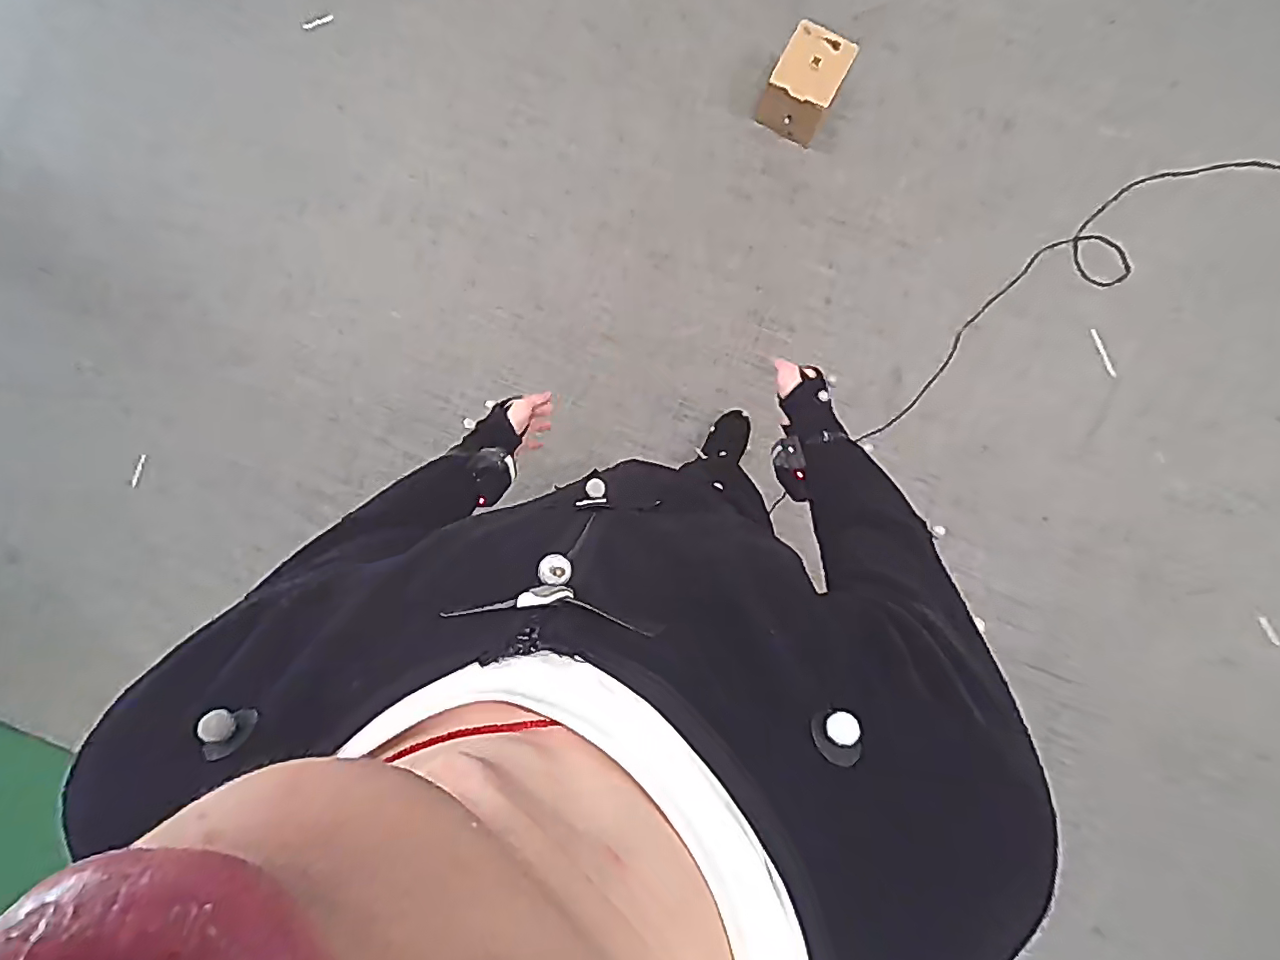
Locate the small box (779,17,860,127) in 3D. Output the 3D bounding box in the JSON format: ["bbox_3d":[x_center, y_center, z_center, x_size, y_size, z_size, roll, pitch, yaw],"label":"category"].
[{"bbox_3d":[0.462,-1.058,1.416,0.179,0.176,0.168,0,90,5],"label":"small box"}]
